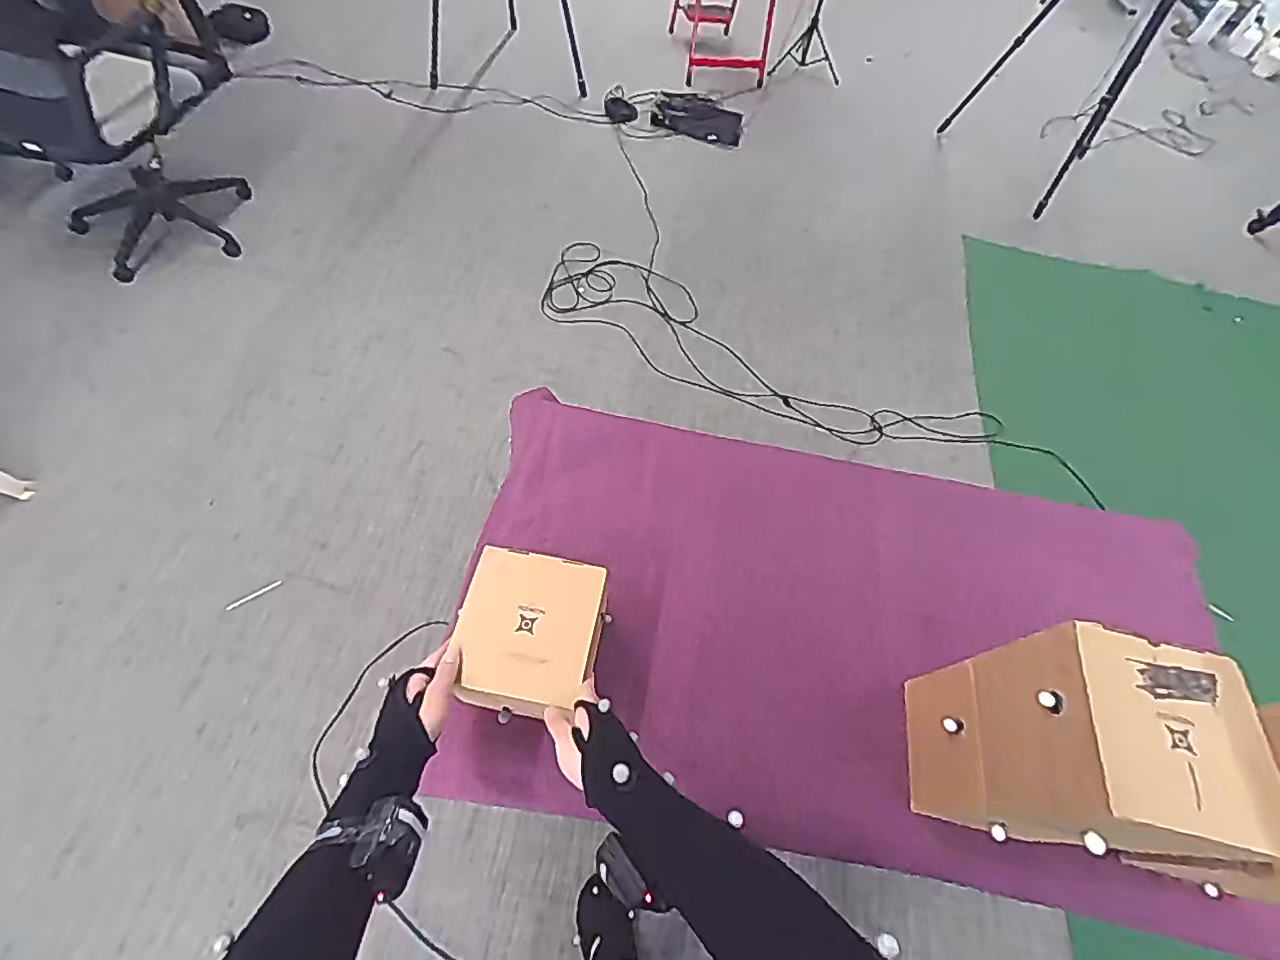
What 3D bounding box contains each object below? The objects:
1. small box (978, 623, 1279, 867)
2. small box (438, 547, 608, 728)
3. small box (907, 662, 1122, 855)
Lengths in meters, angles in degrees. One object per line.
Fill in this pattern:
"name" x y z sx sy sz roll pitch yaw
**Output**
"small box" 0.485 0.275 0.563 0.168 0.176 0.179 13 58 3
"small box" -0.142 0.215 0.723 0.168 0.176 0.179 11 59 3
"small box" 0.469 0.361 0.702 0.168 0.176 0.179 13 58 2
